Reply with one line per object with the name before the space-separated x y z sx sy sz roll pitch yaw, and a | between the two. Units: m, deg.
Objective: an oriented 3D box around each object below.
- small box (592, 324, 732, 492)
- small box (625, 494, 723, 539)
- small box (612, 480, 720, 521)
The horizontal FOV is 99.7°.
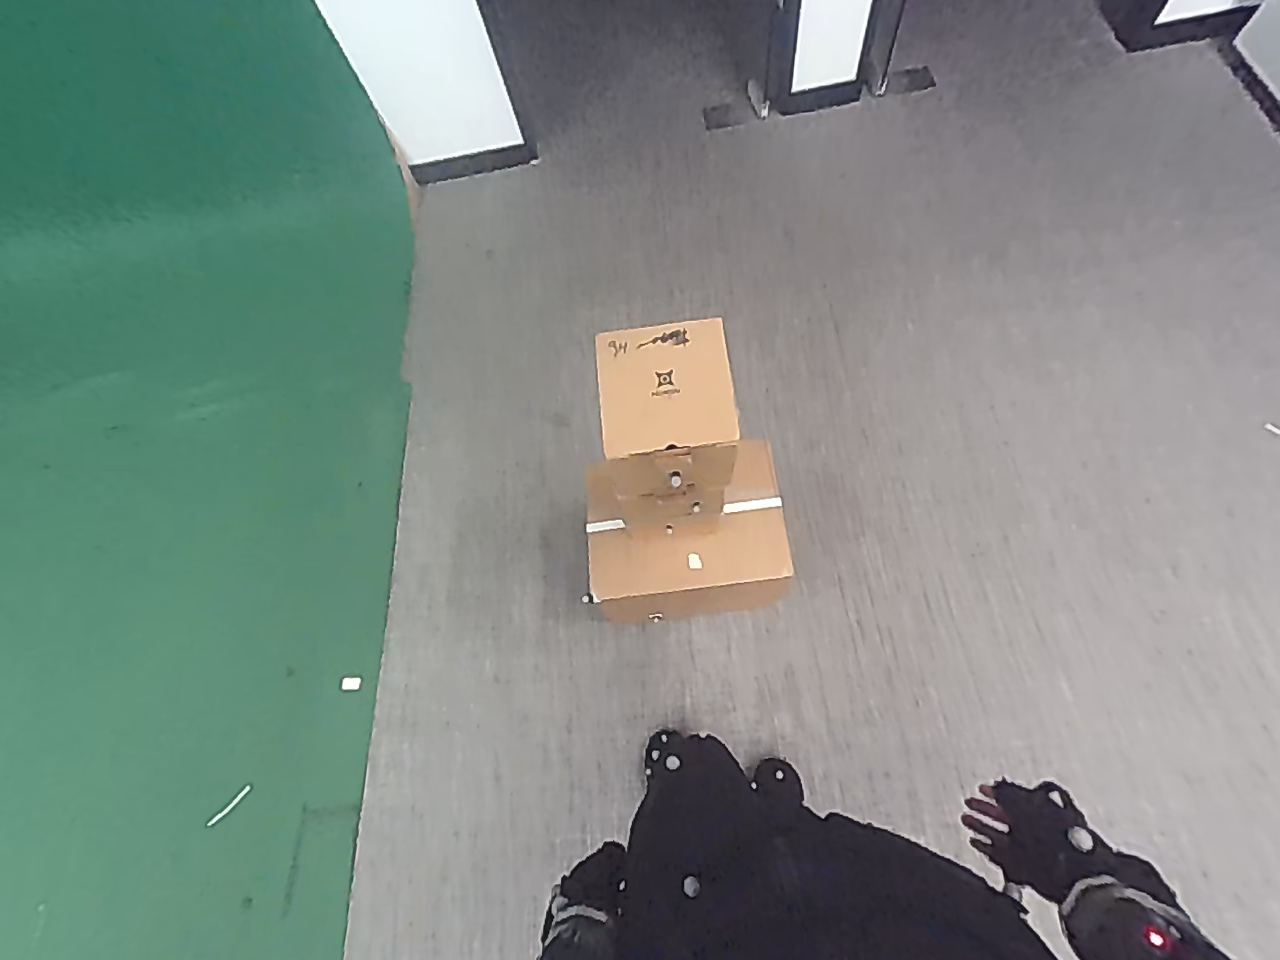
small box | 0.034 -0.086 0.749 0.168 0.176 0.179 -7 73 5
small box | 0.061 0.014 1.057 0.179 0.176 0.168 -8 73 5
small box | 0.042 -0.035 0.905 0.168 0.176 0.179 -8 71 4
